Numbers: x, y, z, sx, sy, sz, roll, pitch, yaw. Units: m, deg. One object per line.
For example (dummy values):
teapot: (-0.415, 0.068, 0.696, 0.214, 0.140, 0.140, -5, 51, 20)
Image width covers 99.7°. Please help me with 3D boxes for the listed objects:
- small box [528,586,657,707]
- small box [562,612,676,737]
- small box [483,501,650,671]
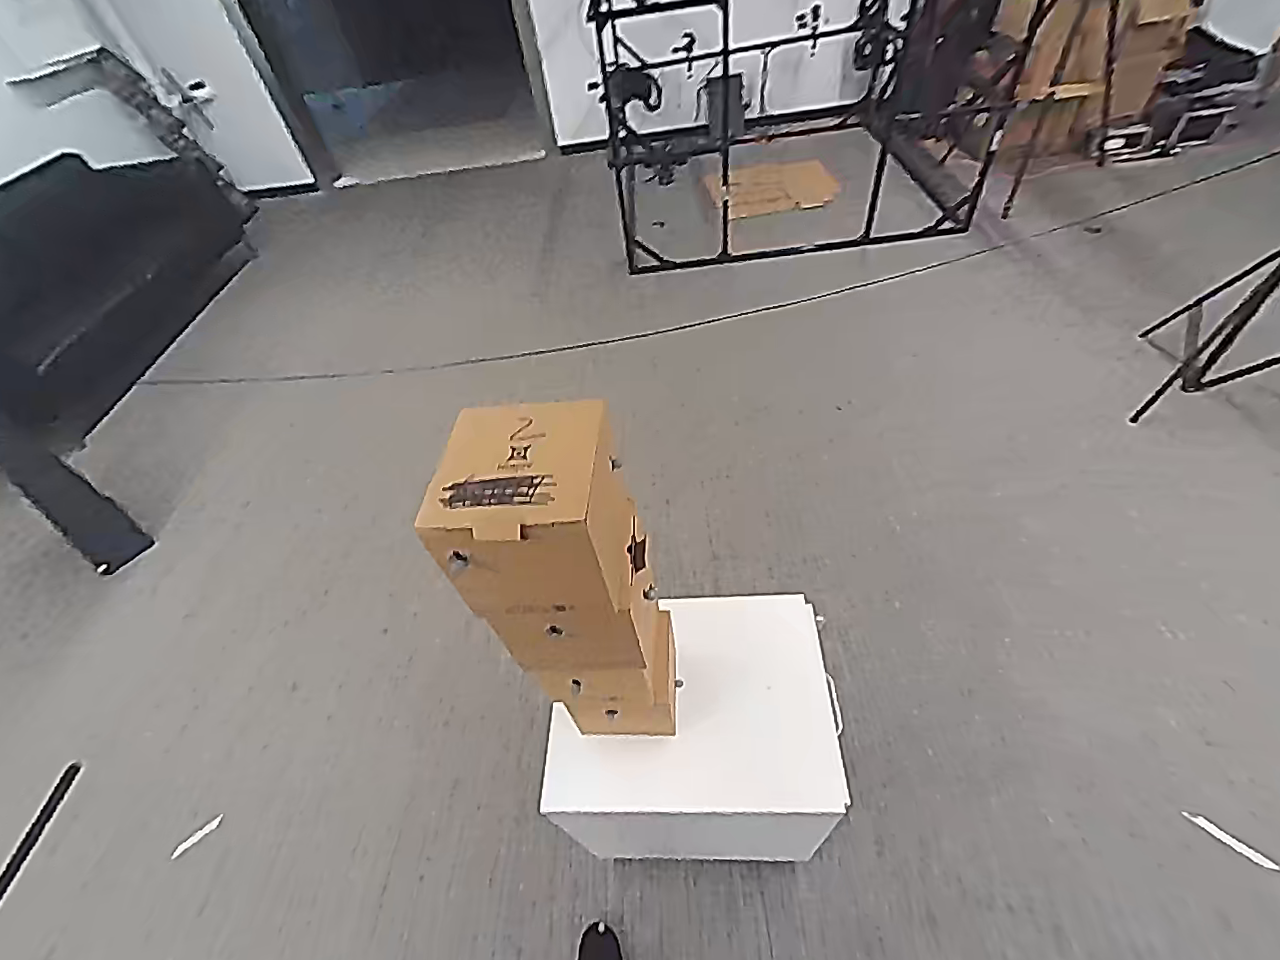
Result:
small box: (-0.064, 0.246, 0.857, 0.168, 0.176, 0.179, -1, 48, 8)
small box: (-0.028, 0.352, 0.975, 0.179, 0.176, 0.168, -2, 48, 6)
small box: (-0.084, 0.146, 0.727, 0.179, 0.176, 0.168, -3, 48, 6)
